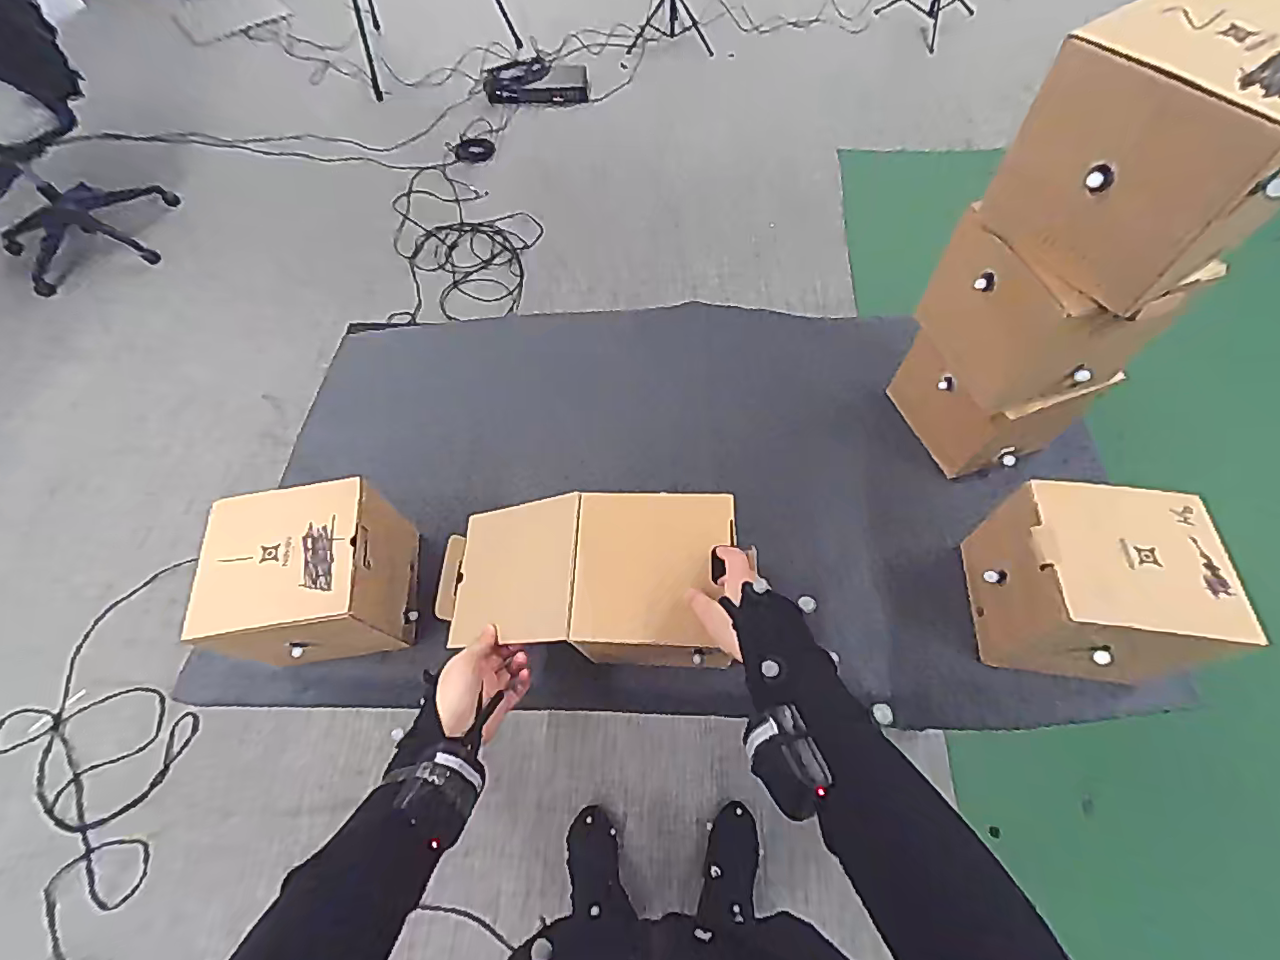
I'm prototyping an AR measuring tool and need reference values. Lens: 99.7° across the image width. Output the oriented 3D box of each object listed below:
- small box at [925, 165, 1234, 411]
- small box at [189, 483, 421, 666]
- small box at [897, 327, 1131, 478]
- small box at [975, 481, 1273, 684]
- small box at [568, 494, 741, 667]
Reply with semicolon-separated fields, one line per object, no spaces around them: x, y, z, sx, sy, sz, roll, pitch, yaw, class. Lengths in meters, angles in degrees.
0.460;-0.208;0.608;0.168;0.176;0.179;-16;62;-2;small box
-0.387;0.122;0.665;0.179;0.176;0.168;-9;62;-1;small box
0.494;-0.132;0.752;0.168;0.176;0.179;-20;64;-4;small box
0.508;0.120;0.610;0.179;0.176;0.168;6;58;7;small box
0.023;0.125;0.638;0.179;0.176;0.168;-1;65;5;small box
